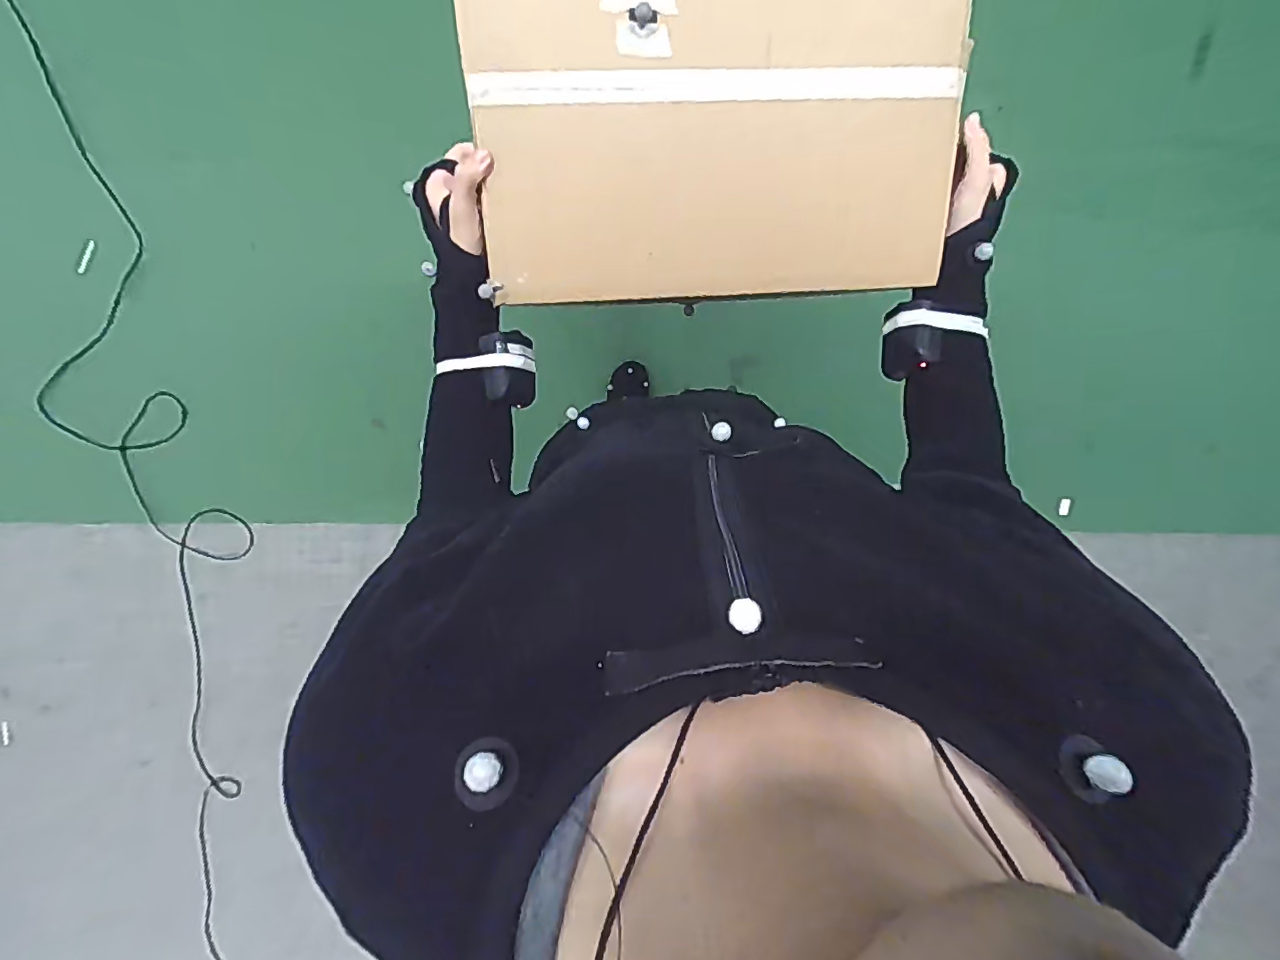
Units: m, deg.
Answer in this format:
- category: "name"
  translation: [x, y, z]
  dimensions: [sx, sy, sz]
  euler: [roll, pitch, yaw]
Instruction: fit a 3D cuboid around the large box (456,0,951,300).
- category: "large box"
  translation: [0.047, -0.369, 0.586]
  dimensions: [0.408, 0.320, 0.320]
  euler: [-4, 107, -4]
